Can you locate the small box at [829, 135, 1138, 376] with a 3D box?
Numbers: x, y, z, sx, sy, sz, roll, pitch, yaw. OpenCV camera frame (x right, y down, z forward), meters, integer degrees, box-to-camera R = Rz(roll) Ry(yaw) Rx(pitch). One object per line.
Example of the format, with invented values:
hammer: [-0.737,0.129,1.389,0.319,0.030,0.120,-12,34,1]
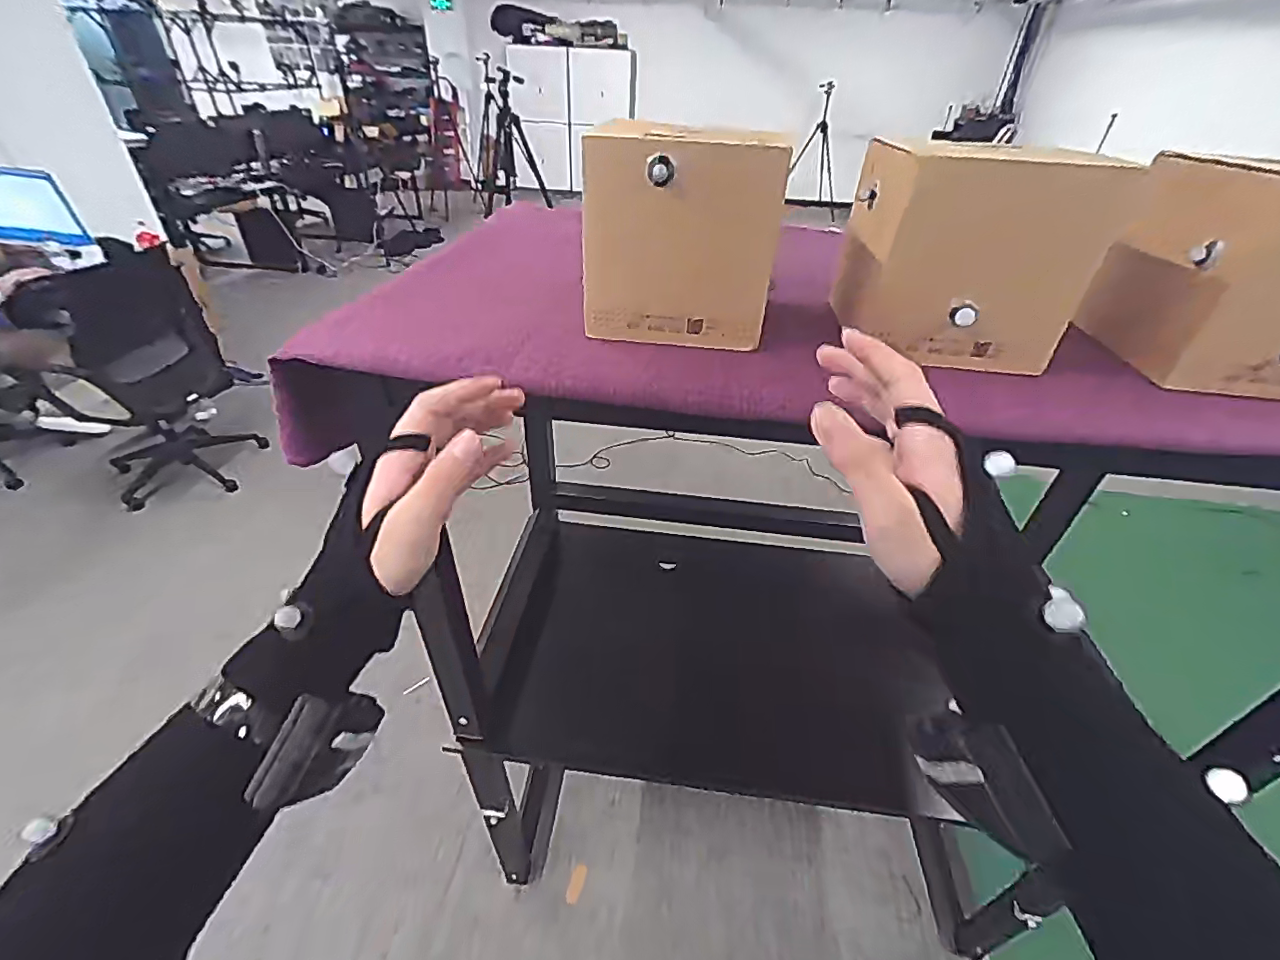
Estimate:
small box: [0.290,-0.217,0.513,0.168,0.176,0.179,6,37,5]

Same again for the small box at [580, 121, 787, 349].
small box: [0.038,-0.244,0.530,0.168,0.176,0.179,6,35,4]
